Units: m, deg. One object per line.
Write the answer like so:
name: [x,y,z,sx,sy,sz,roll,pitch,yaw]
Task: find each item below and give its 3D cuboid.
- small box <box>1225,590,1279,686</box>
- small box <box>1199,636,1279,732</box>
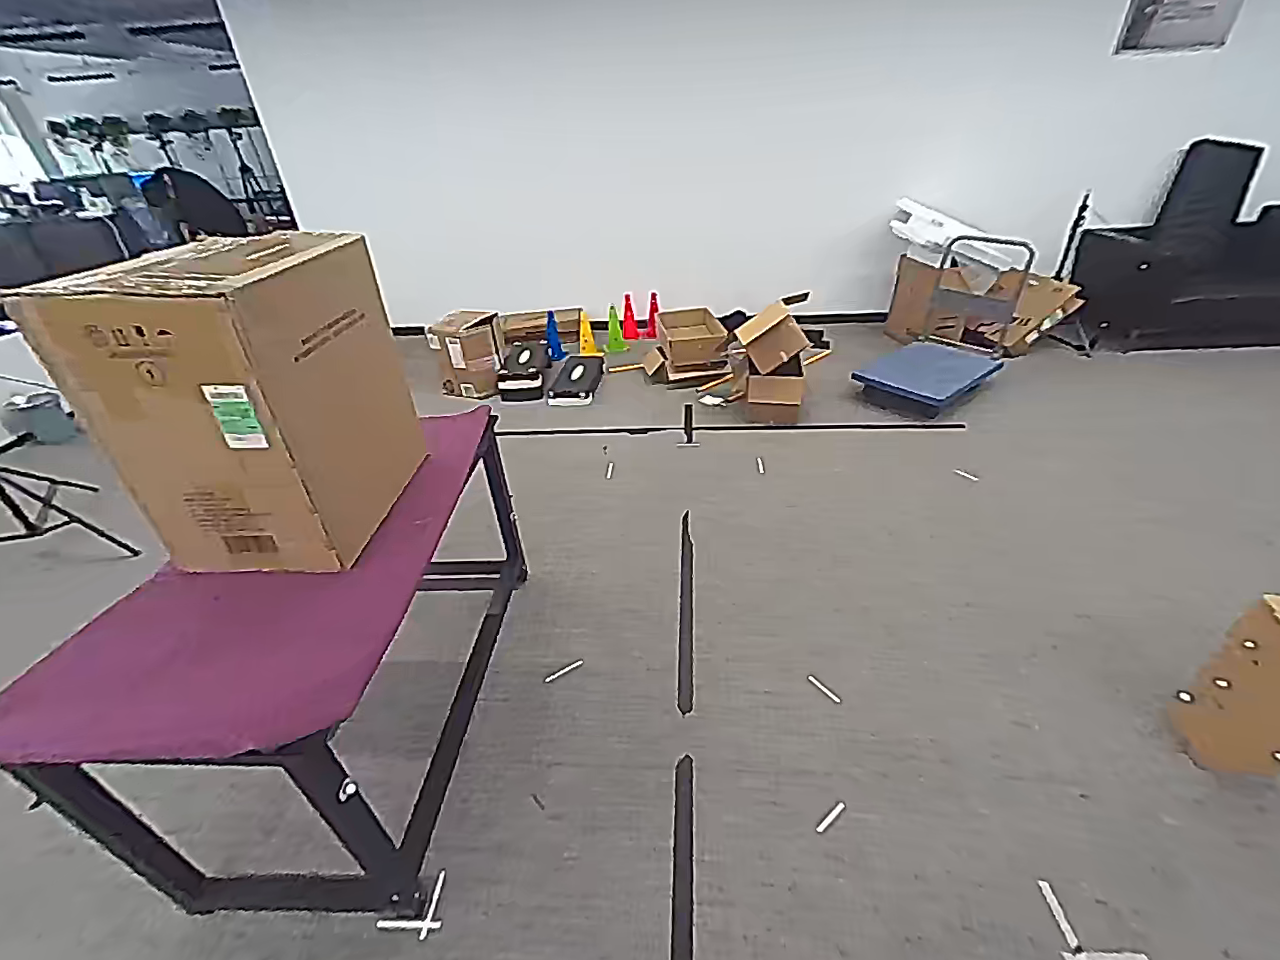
small box: [1.625,0.395,1.325,0.179,0.176,0.168,3,33,10]
small box: [1.629,0.534,1.409,0.179,0.176,0.168,4,34,10]
